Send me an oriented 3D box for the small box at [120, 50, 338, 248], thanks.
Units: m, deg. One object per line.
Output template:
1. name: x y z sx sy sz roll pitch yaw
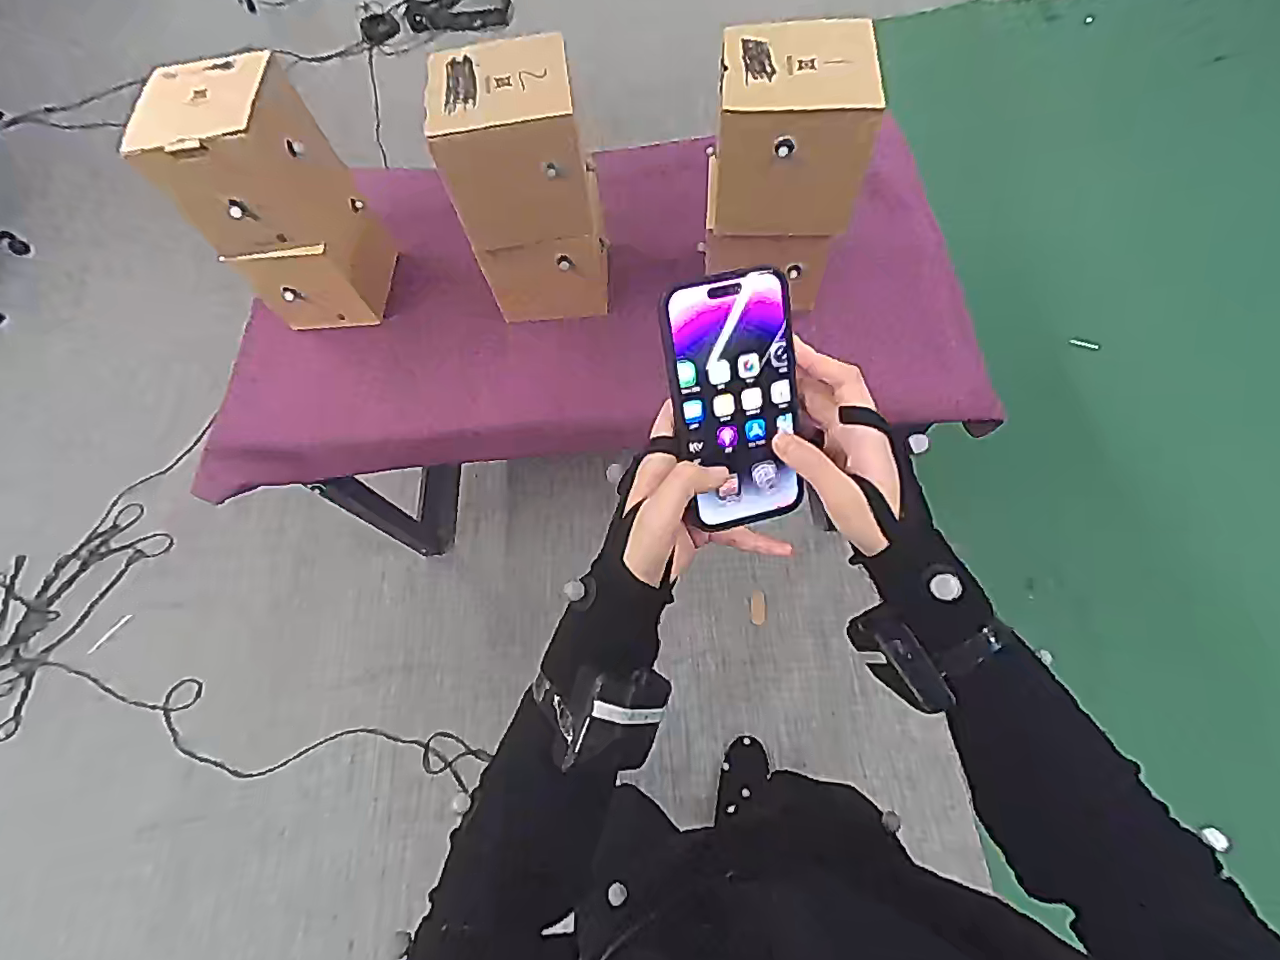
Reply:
1. small box: -0.558 -0.451 0.763 0.168 0.176 0.179 -8 67 2

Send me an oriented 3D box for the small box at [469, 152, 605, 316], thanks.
1. small box: -0.152 -0.385 0.868 0.179 0.176 0.168 -4 66 5

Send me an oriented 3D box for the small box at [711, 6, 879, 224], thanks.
1. small box: 0.180 -0.446 0.680 0.179 0.176 0.168 2 66 7

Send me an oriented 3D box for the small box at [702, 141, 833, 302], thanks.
1. small box: 0.188 -0.394 0.836 0.179 0.176 0.168 2 67 8

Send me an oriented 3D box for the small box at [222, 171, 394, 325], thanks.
1. small box: -0.540 -0.378 0.910 0.168 0.176 0.179 -3 66 5
